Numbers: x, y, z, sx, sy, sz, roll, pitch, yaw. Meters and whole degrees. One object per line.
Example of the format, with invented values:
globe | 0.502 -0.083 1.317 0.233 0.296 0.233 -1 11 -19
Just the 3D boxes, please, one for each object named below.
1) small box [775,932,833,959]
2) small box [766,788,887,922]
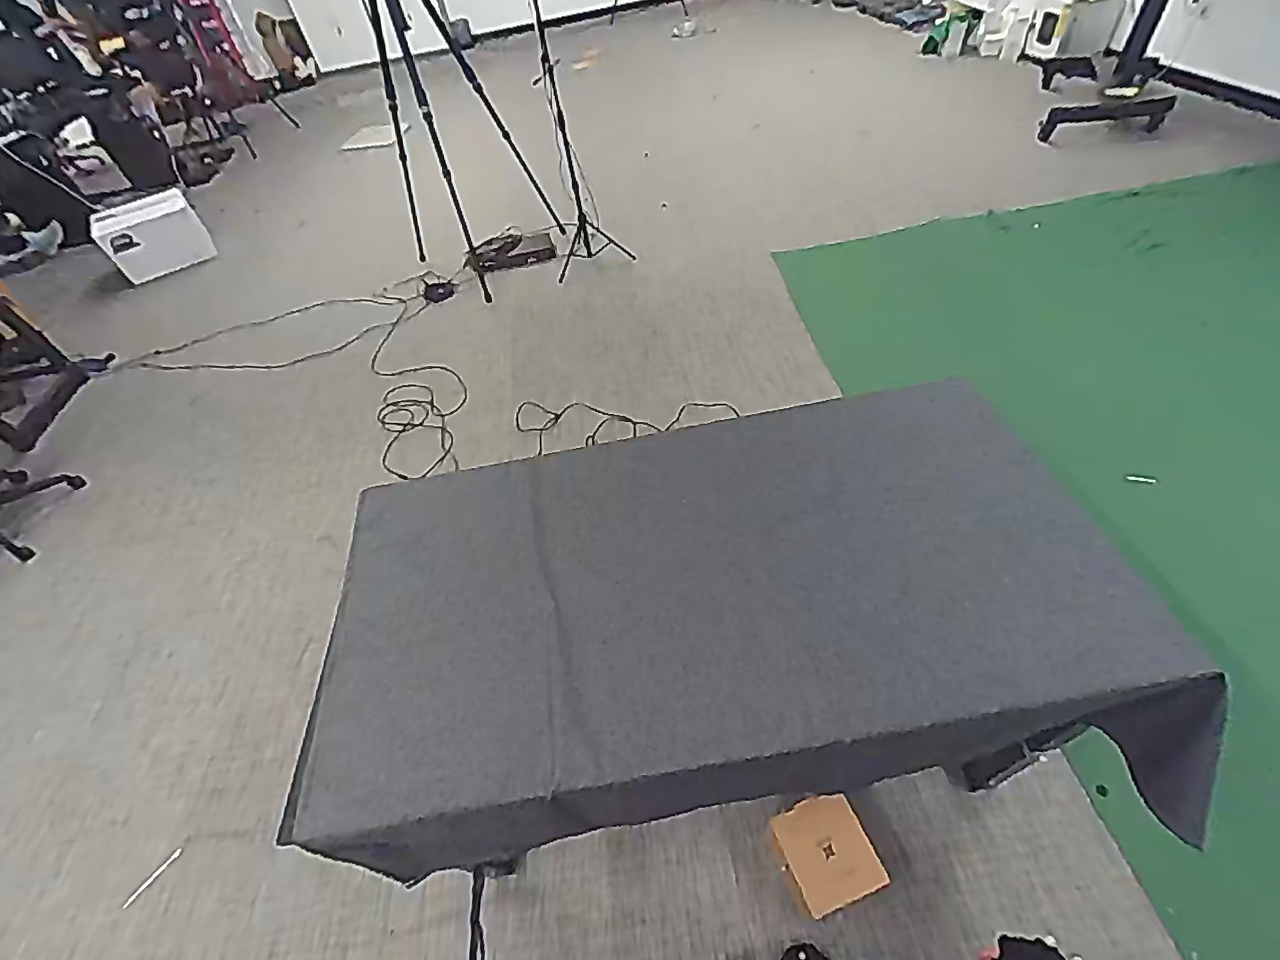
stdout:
small box | 0.313 0.989 0.964 0.168 0.176 0.179 -1 19 46
small box | 0.373 0.780 1.123 0.168 0.176 0.179 -20 49 -7
